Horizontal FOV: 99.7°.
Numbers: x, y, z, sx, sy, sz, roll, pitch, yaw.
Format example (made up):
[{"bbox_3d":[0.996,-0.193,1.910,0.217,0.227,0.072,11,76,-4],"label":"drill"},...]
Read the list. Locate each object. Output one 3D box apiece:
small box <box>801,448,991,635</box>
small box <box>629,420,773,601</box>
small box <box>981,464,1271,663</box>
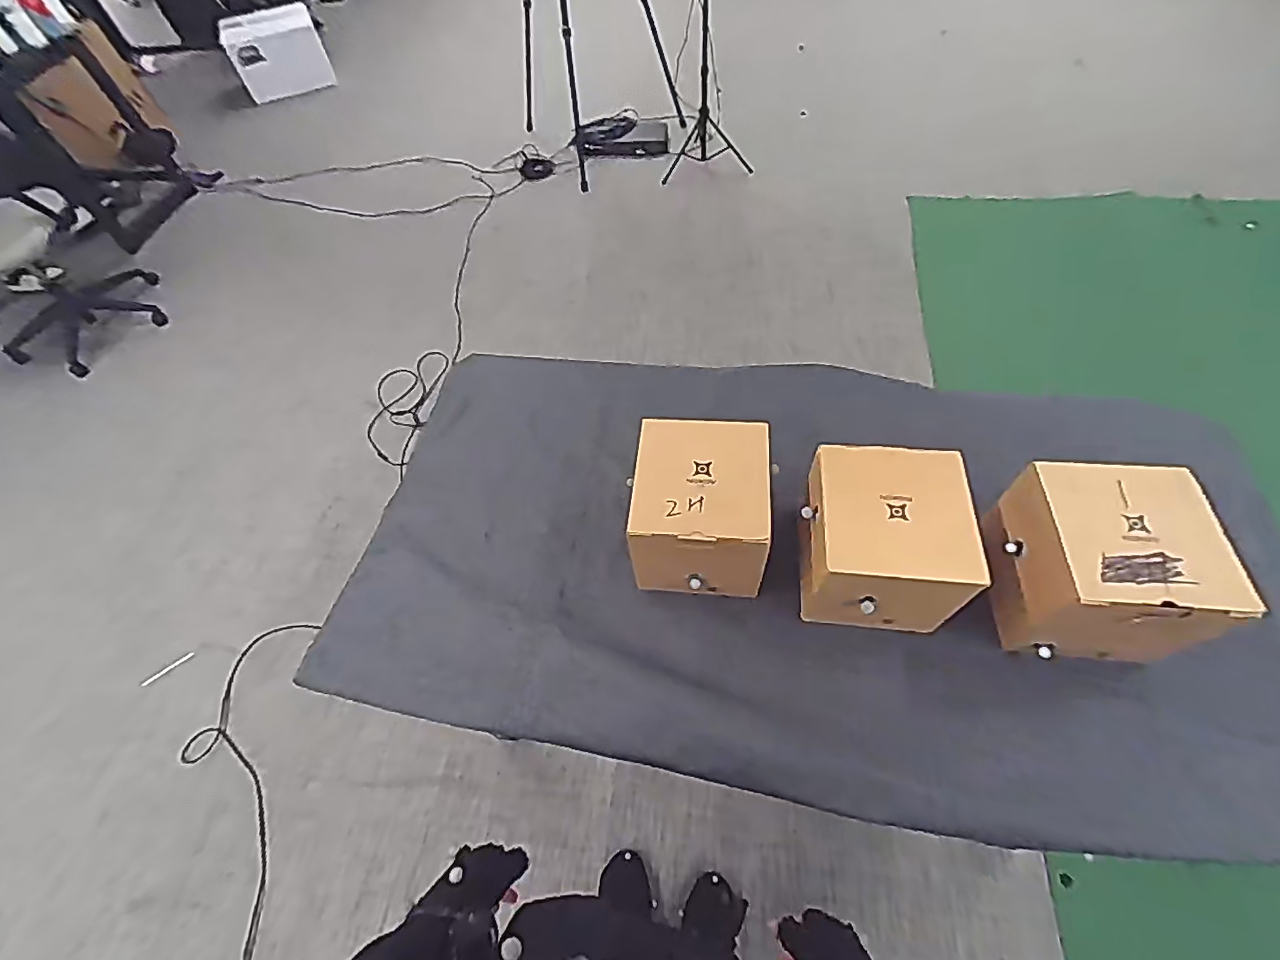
[{"bbox_3d":[0.299,0.081,0.675,0.168,0.176,0.179,3,56,8],"label":"small box"},{"bbox_3d":[0.083,0.042,0.720,0.168,0.176,0.179,3,57,8],"label":"small box"},{"bbox_3d":[0.535,0.102,0.633,0.168,0.176,0.179,3,56,8],"label":"small box"}]
